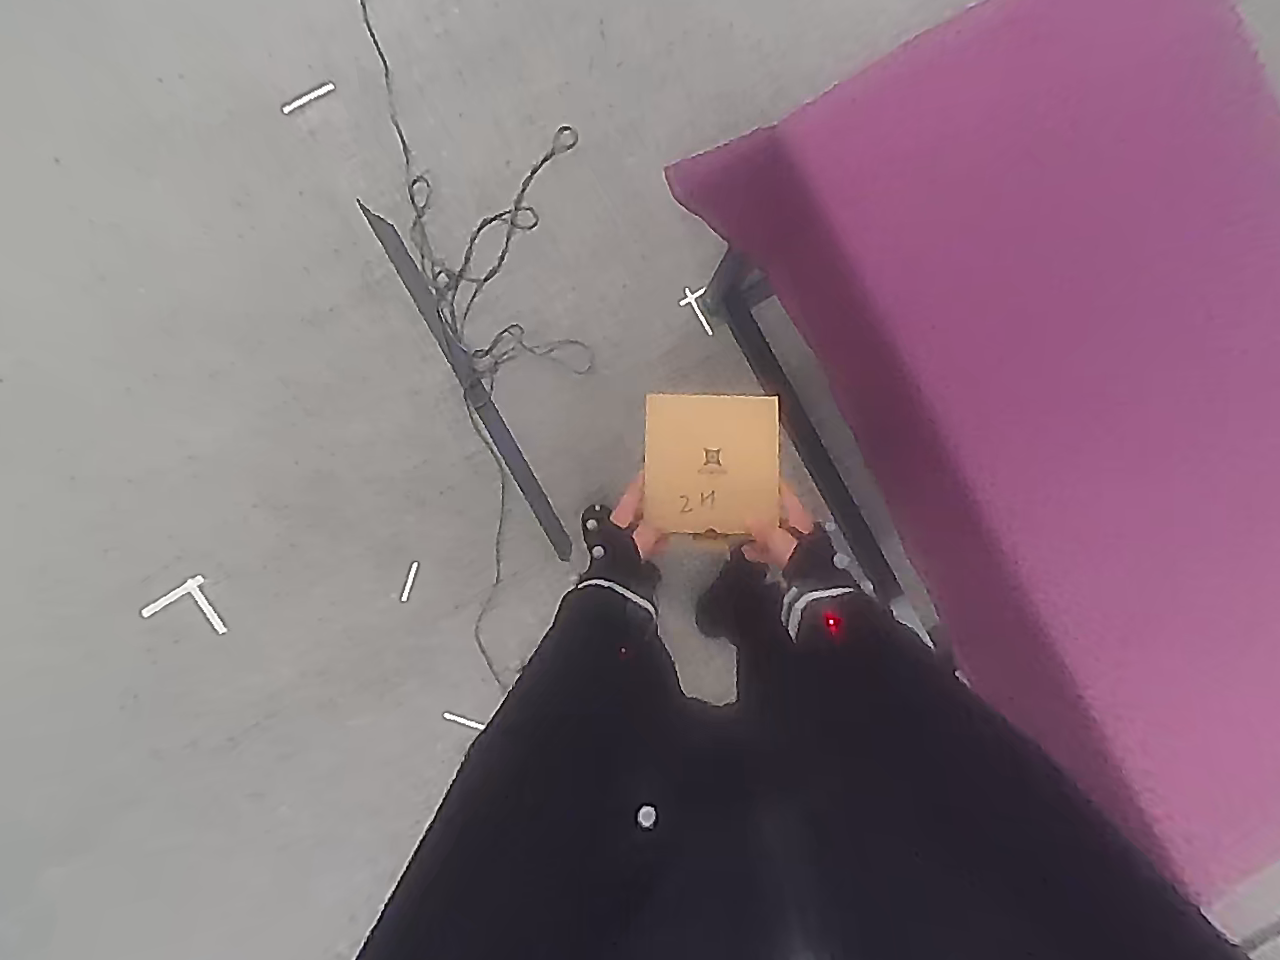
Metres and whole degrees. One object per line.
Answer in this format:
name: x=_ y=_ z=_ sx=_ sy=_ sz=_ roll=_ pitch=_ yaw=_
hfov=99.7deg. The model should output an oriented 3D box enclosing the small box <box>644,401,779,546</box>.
small box: x=0.090 y=0.000 z=0.742 sx=0.168 sy=0.176 sz=0.179 roll=1 pitch=83 yaw=2
